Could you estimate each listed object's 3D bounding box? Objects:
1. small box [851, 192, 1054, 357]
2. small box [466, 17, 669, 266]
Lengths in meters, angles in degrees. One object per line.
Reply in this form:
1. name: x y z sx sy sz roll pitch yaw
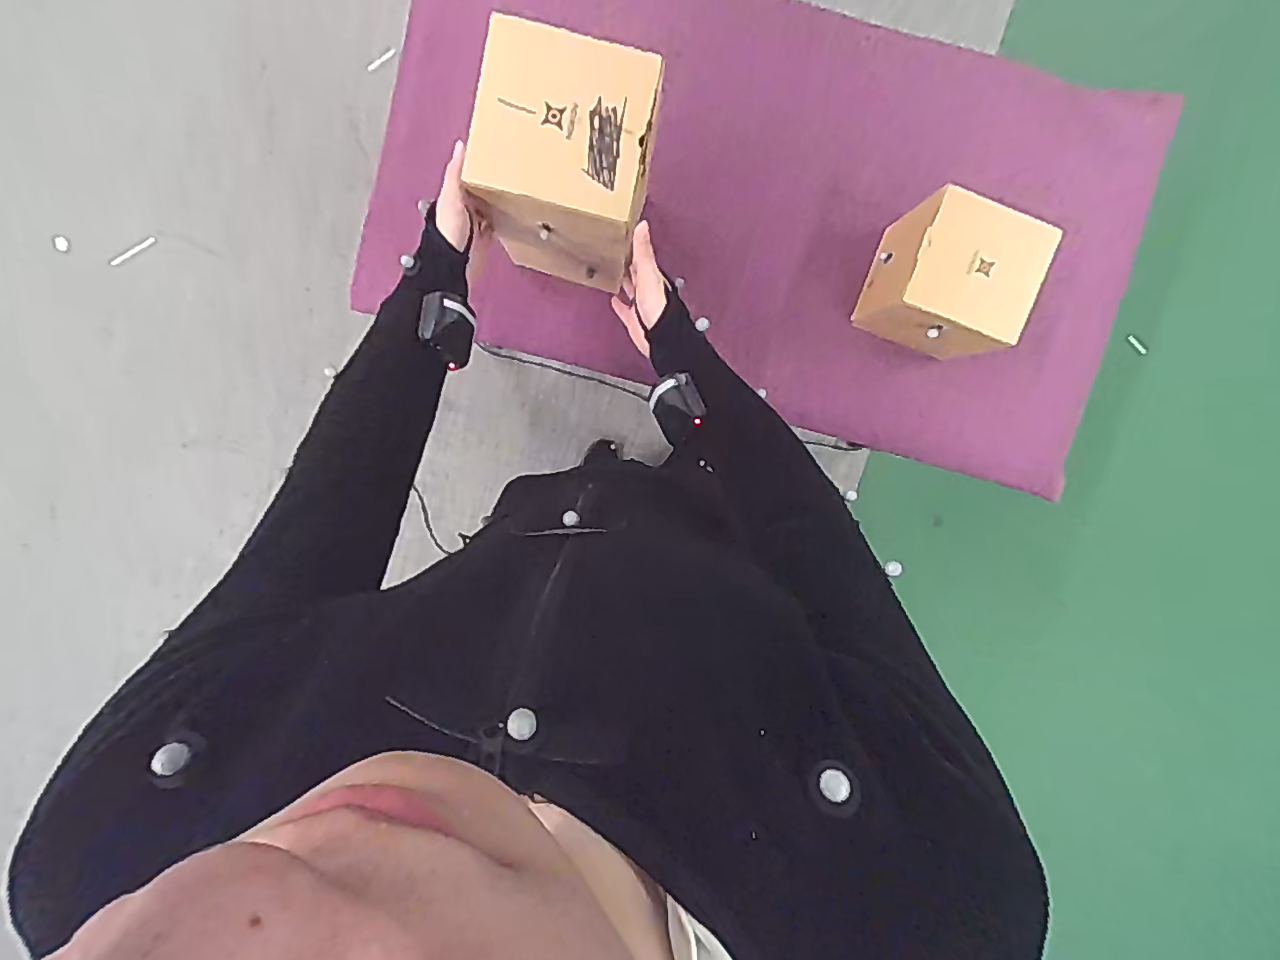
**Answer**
1. small box: 0.458 -0.295 0.820 0.179 0.176 0.168 20 95 -4
2. small box: -0.078 -0.363 0.619 0.179 0.176 0.168 13 94 -4
